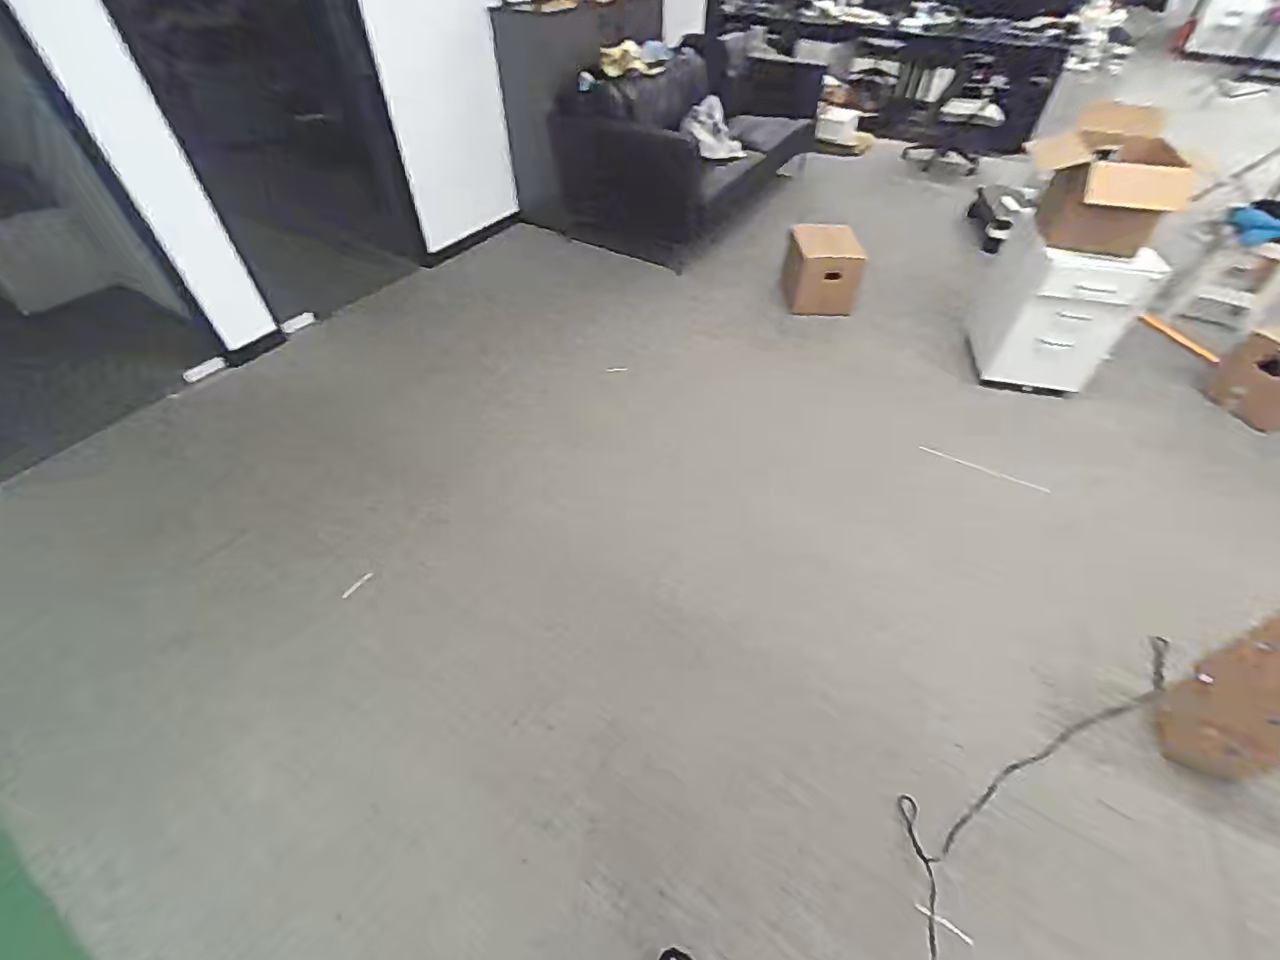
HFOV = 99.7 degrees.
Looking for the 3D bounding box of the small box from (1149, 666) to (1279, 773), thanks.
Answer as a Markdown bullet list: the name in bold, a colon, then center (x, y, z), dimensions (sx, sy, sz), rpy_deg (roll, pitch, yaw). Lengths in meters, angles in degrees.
- **small box**: center (1.437, 0.607, 1.362), dimensions (0.179, 0.176, 0.168), rpy_deg (18, 50, 16)
